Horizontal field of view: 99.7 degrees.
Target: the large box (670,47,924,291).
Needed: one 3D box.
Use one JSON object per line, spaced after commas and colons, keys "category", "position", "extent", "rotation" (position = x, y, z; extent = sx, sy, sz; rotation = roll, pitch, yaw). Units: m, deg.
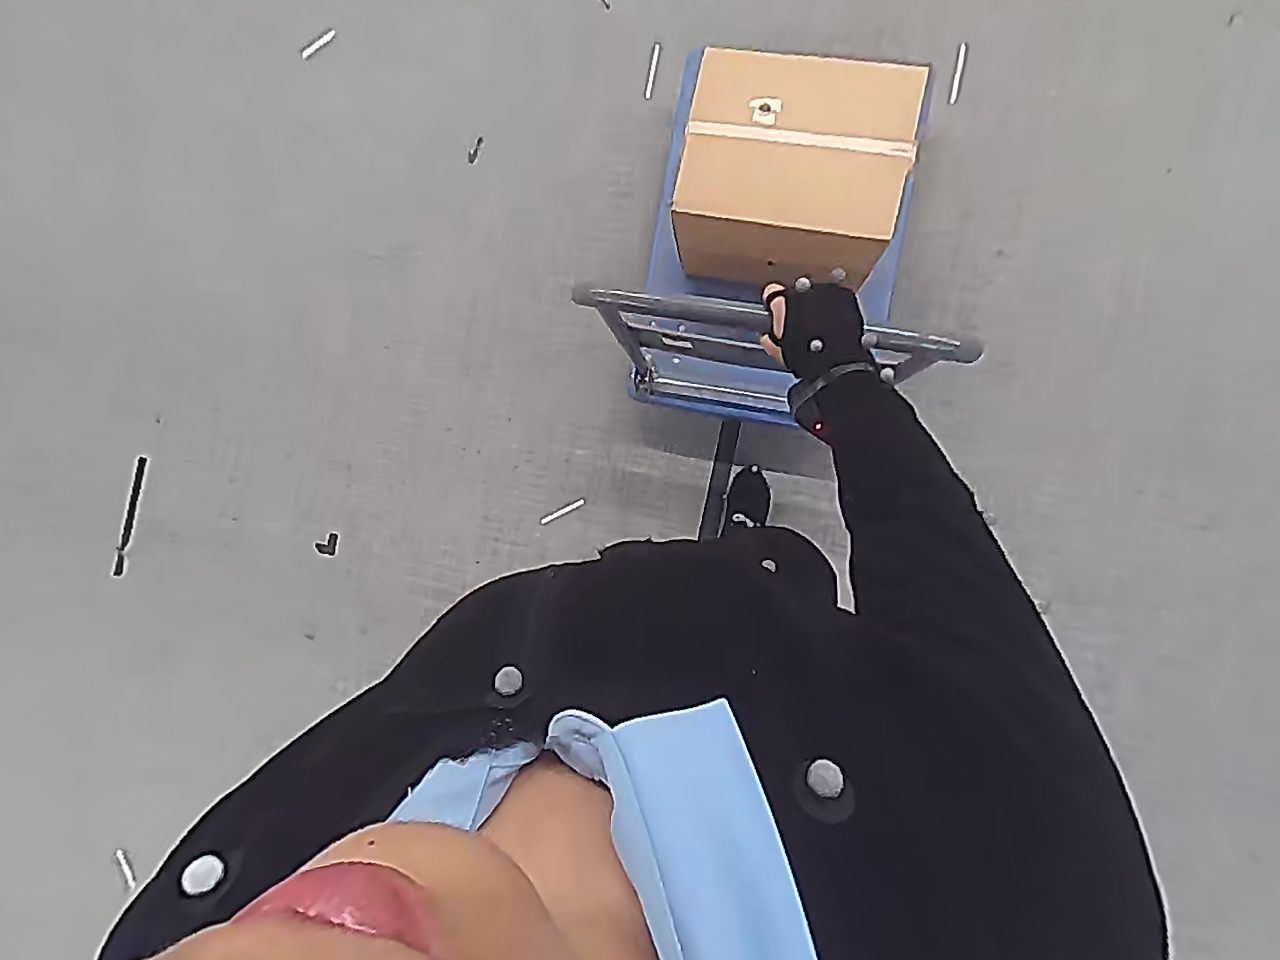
{"category": "large box", "position": [0.303, -0.615, 1.119], "extent": [0.408, 0.320, 0.320], "rotation": [12, 90, 10]}
